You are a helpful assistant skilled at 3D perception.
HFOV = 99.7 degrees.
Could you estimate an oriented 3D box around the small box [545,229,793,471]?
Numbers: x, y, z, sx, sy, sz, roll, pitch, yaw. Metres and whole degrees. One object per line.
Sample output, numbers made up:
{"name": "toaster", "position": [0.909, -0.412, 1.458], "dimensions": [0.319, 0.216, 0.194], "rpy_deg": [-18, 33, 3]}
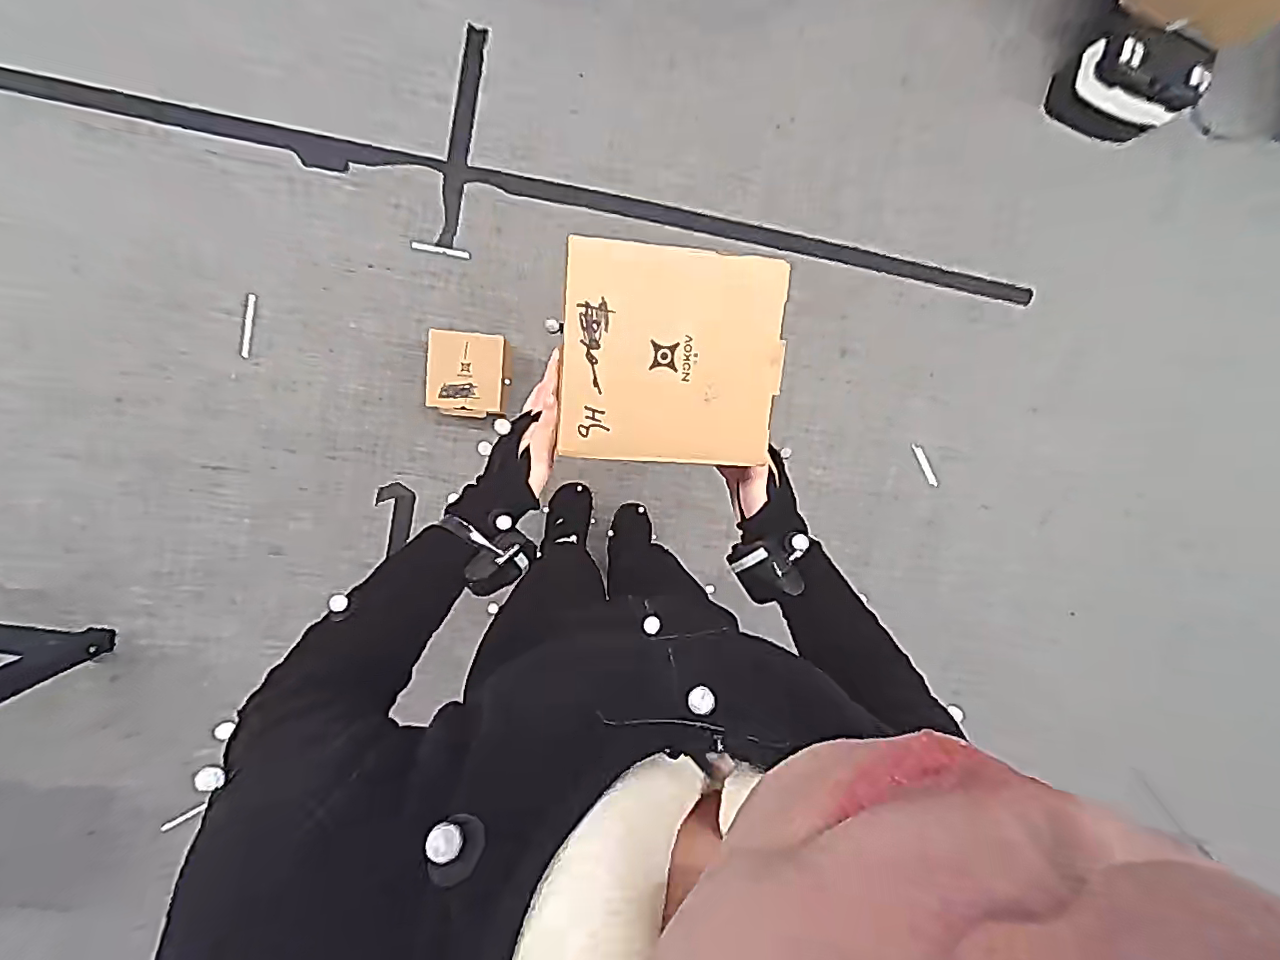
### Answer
{"name": "small box", "position": [0.010, -0.107, 0.484], "dimensions": [0.179, 0.176, 0.168], "rpy_deg": [3, 100, -11]}

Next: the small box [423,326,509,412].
{"name": "small box", "position": [-0.407, -0.255, 1.287], "dimensions": [0.168, 0.176, 0.179], "rpy_deg": [4, 95, -8]}
